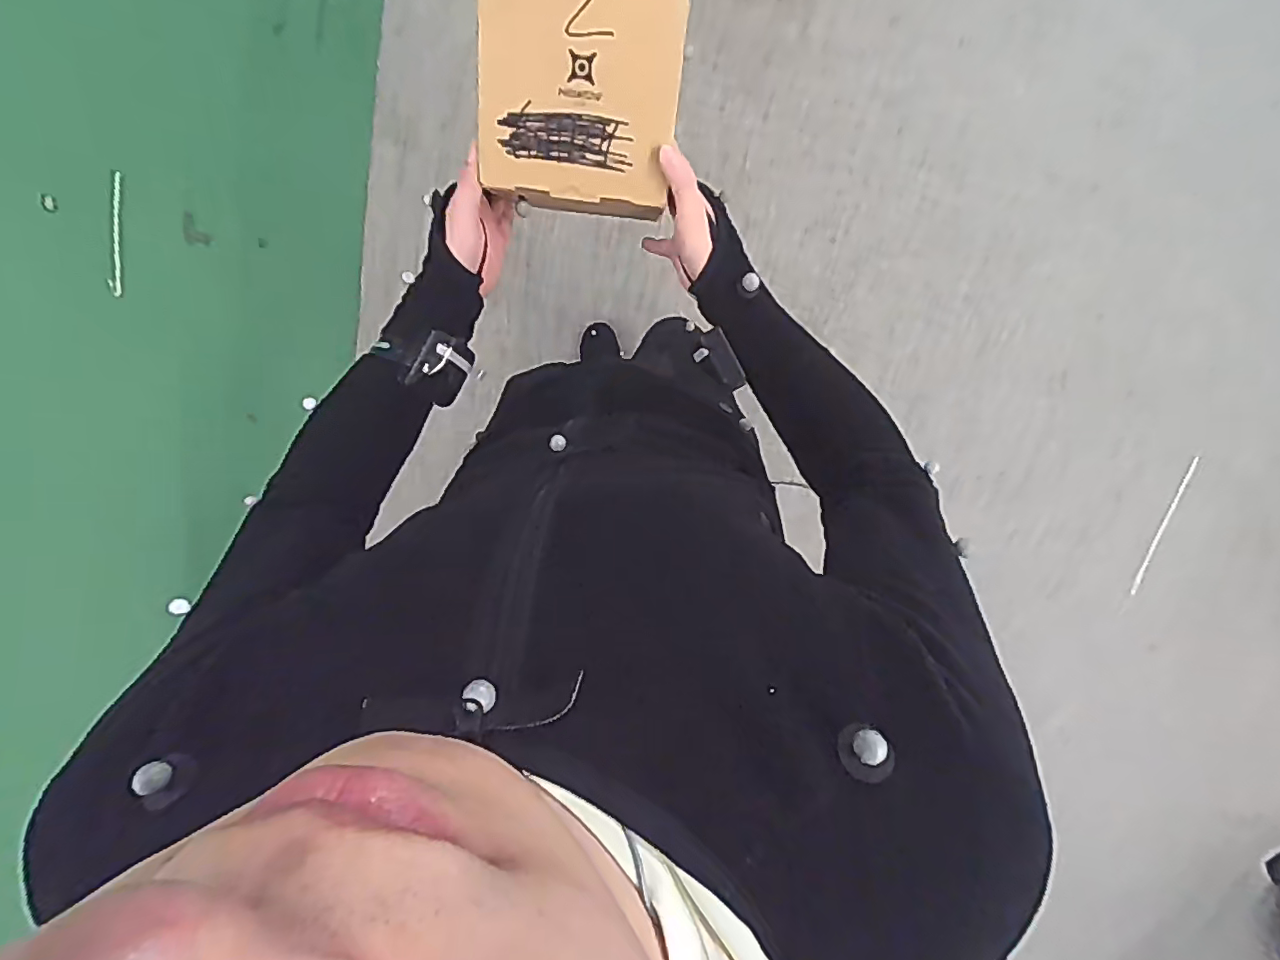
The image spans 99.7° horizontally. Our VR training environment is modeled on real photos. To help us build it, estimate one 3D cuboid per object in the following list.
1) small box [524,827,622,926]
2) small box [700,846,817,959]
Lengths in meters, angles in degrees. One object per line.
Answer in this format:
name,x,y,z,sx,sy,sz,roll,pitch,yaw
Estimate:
small box,-0.128,0.793,1.014,0.168,0.176,0.179,9,105,-3
small box,0.214,0.848,1.032,0.168,0.176,0.179,8,105,-3
